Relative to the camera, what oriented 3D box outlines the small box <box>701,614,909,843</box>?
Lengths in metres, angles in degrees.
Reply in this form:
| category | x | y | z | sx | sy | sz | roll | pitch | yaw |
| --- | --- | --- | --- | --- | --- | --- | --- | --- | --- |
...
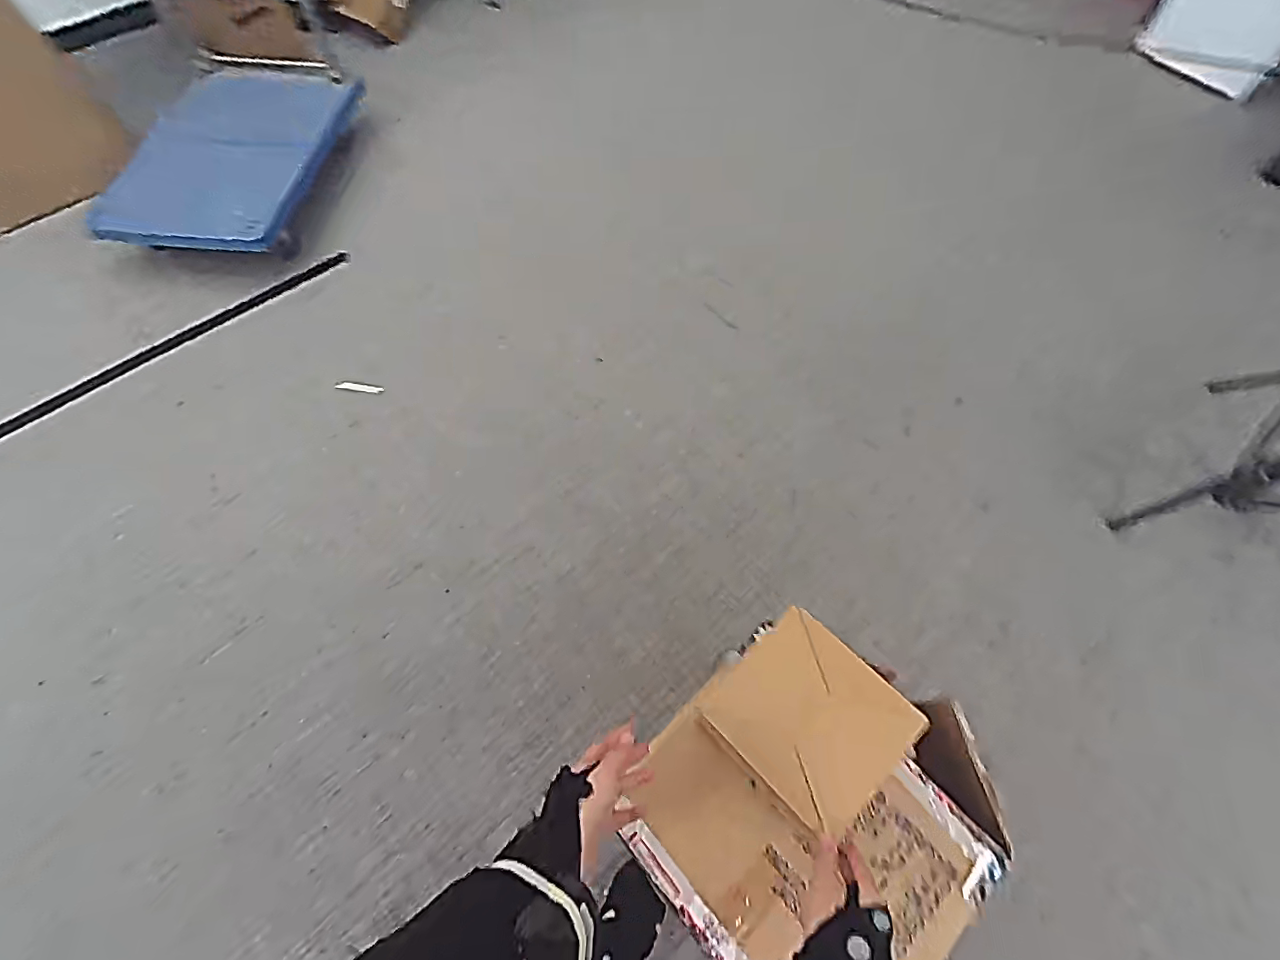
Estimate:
| category | x | y | z | sx | sy | sz | roll | pitch | yaw |
| --- | --- | --- | --- | --- | --- | --- | --- | --- | --- |
| small box | 0.188 | 0.290 | 0.641 | 0.168 | 0.176 | 0.179 | -41 | 67 | -16 |
